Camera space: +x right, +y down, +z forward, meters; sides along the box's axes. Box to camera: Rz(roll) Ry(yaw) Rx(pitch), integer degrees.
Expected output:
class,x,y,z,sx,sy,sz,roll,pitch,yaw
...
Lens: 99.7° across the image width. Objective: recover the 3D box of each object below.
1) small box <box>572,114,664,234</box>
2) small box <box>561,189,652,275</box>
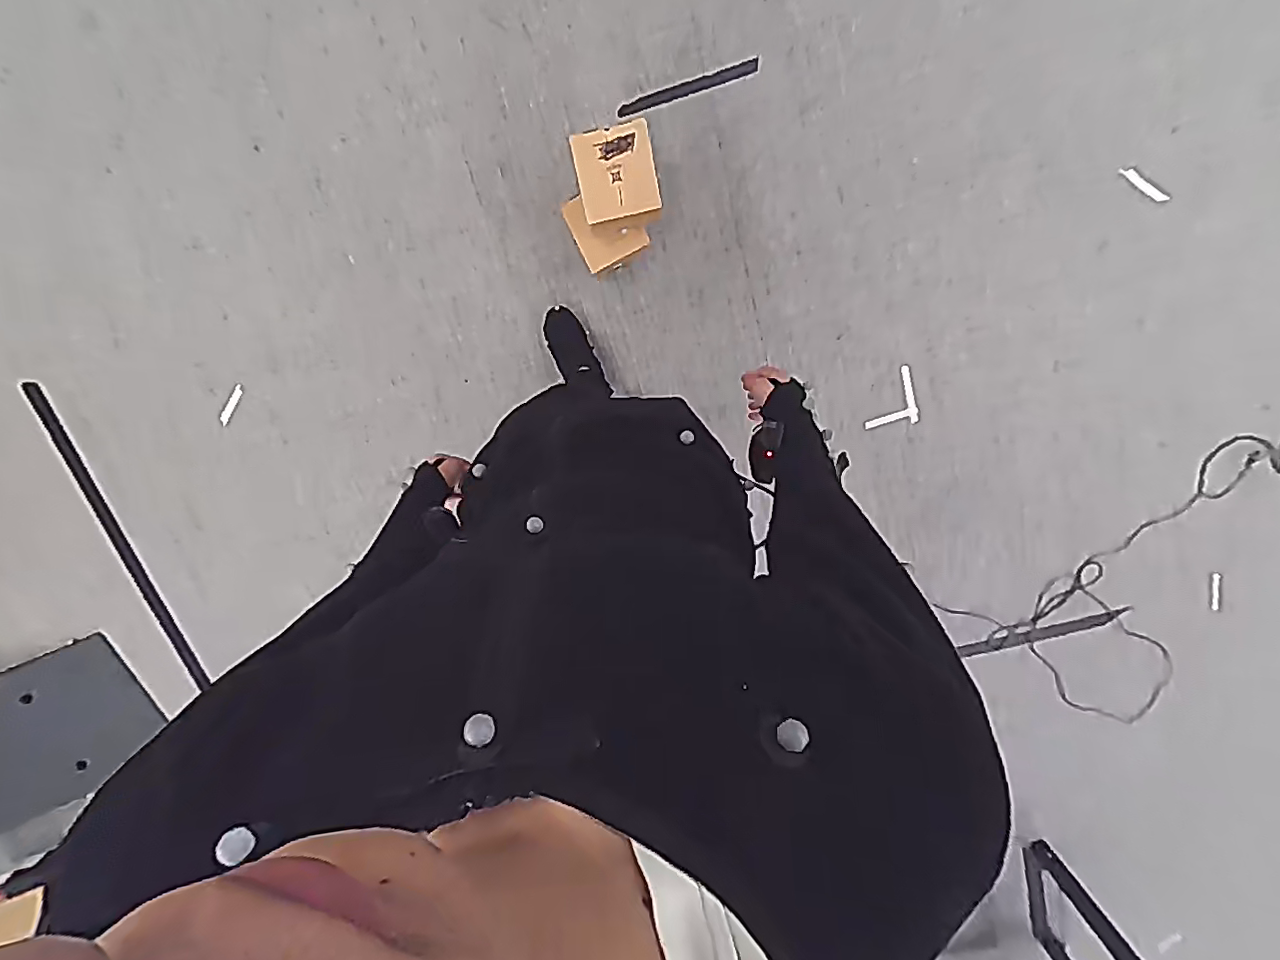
class,x,y,z,sx,sy,sz,roll,pitch,yaw
small box,-0.046,-0.666,1.197,0.168,0.176,0.179,-11,106,4
small box,-0.082,-0.642,1.373,0.168,0.176,0.179,-26,105,7
